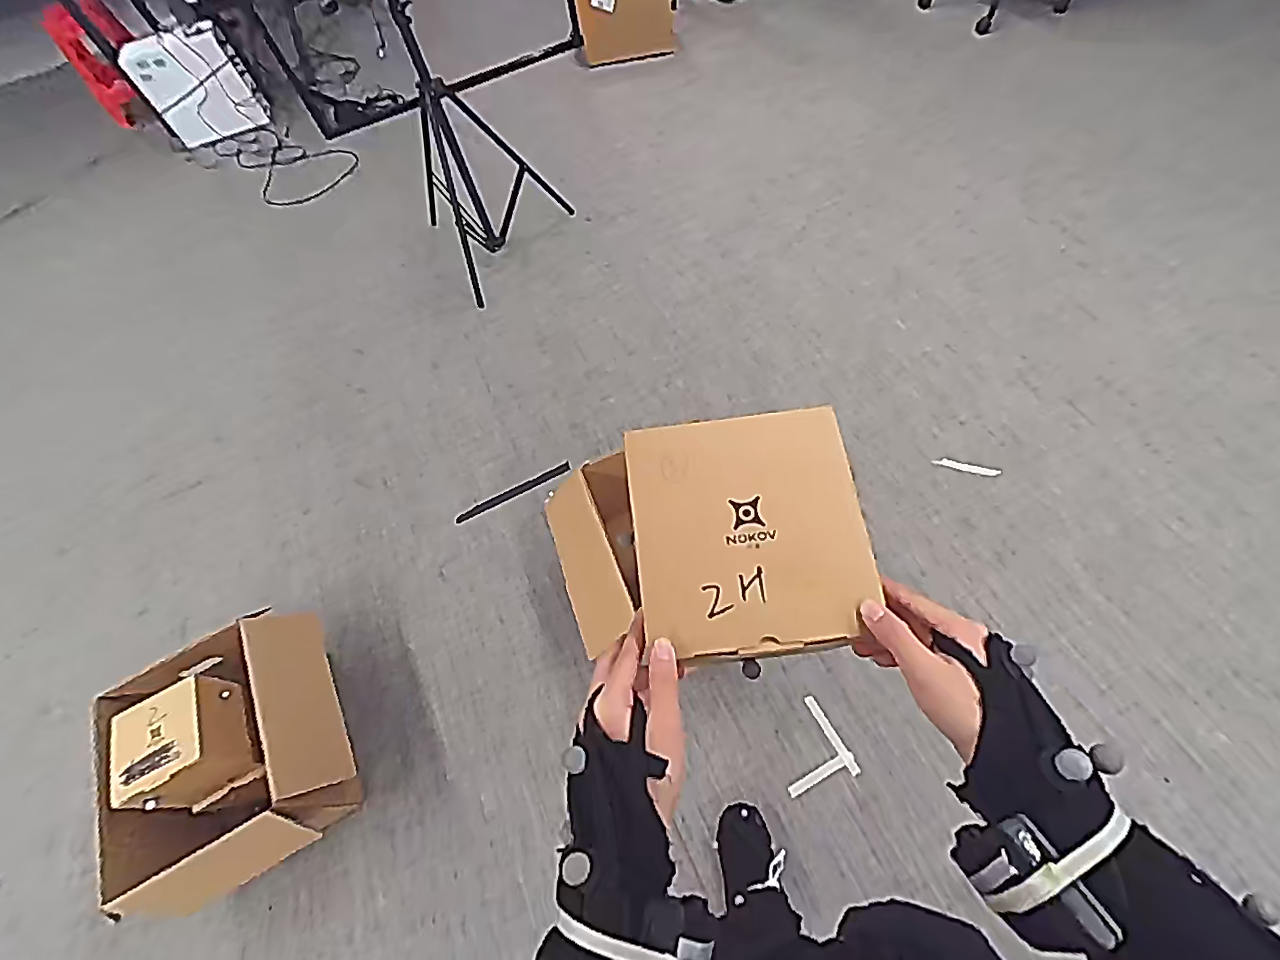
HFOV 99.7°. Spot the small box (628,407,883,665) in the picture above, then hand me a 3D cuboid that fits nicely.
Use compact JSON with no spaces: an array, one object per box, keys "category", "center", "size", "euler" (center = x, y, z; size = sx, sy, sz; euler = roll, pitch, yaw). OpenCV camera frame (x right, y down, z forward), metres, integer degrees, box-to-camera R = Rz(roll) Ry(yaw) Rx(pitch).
[{"category":"small box","center":[0.081,0.059,0.472],"size":[0.168,0.176,0.179],"euler":[-7,69,1]}]
